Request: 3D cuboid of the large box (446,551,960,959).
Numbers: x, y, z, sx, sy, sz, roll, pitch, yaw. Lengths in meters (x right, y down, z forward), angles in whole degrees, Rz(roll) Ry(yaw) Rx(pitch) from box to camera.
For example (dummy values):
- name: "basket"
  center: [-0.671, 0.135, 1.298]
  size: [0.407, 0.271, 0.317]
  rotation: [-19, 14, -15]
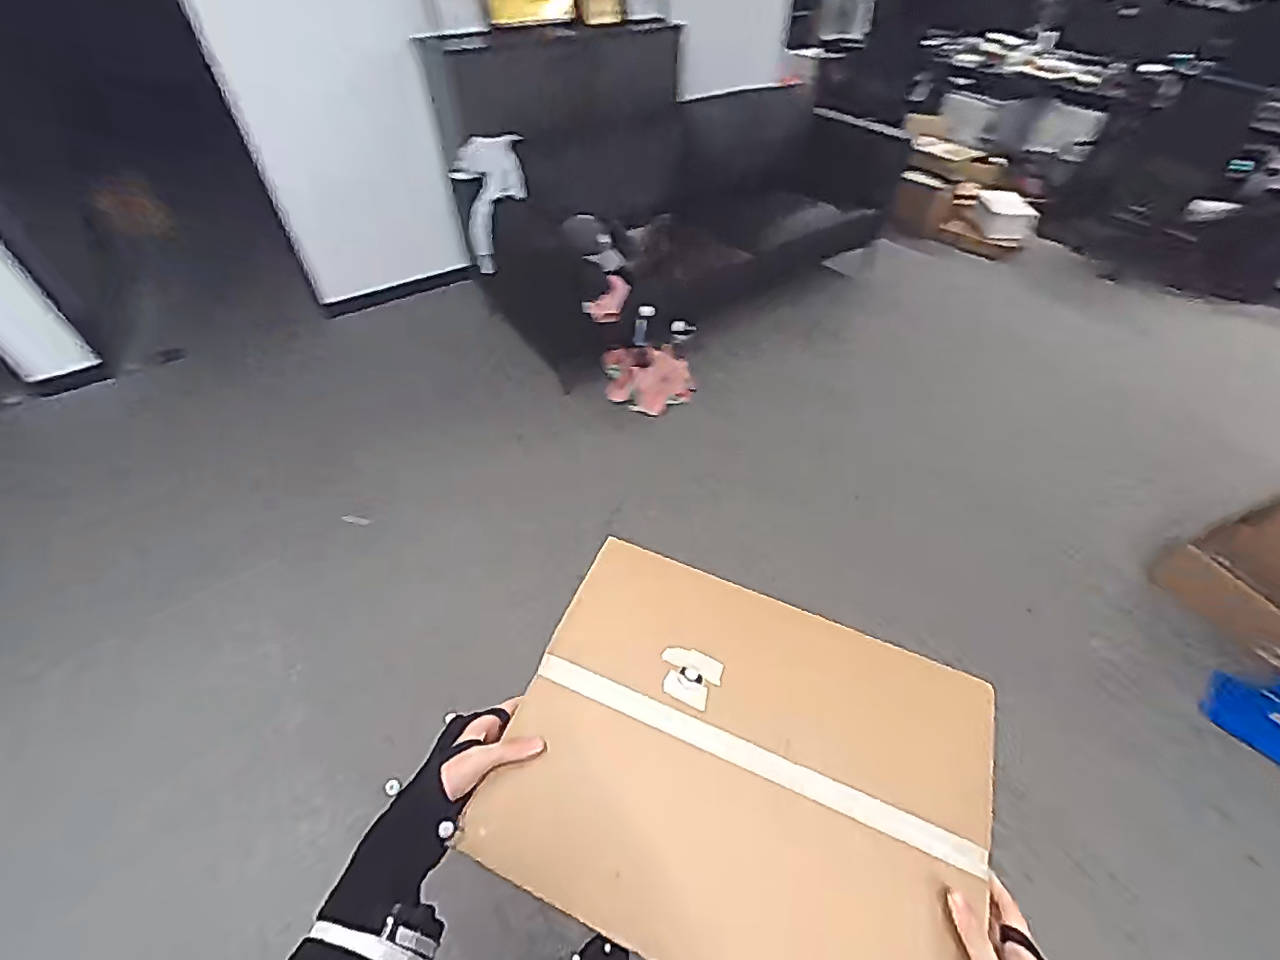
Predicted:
- name: "large box"
  center: [0.077, 0.339, 0.610]
  size: [0.408, 0.320, 0.320]
  rotation: [19, 55, 13]
